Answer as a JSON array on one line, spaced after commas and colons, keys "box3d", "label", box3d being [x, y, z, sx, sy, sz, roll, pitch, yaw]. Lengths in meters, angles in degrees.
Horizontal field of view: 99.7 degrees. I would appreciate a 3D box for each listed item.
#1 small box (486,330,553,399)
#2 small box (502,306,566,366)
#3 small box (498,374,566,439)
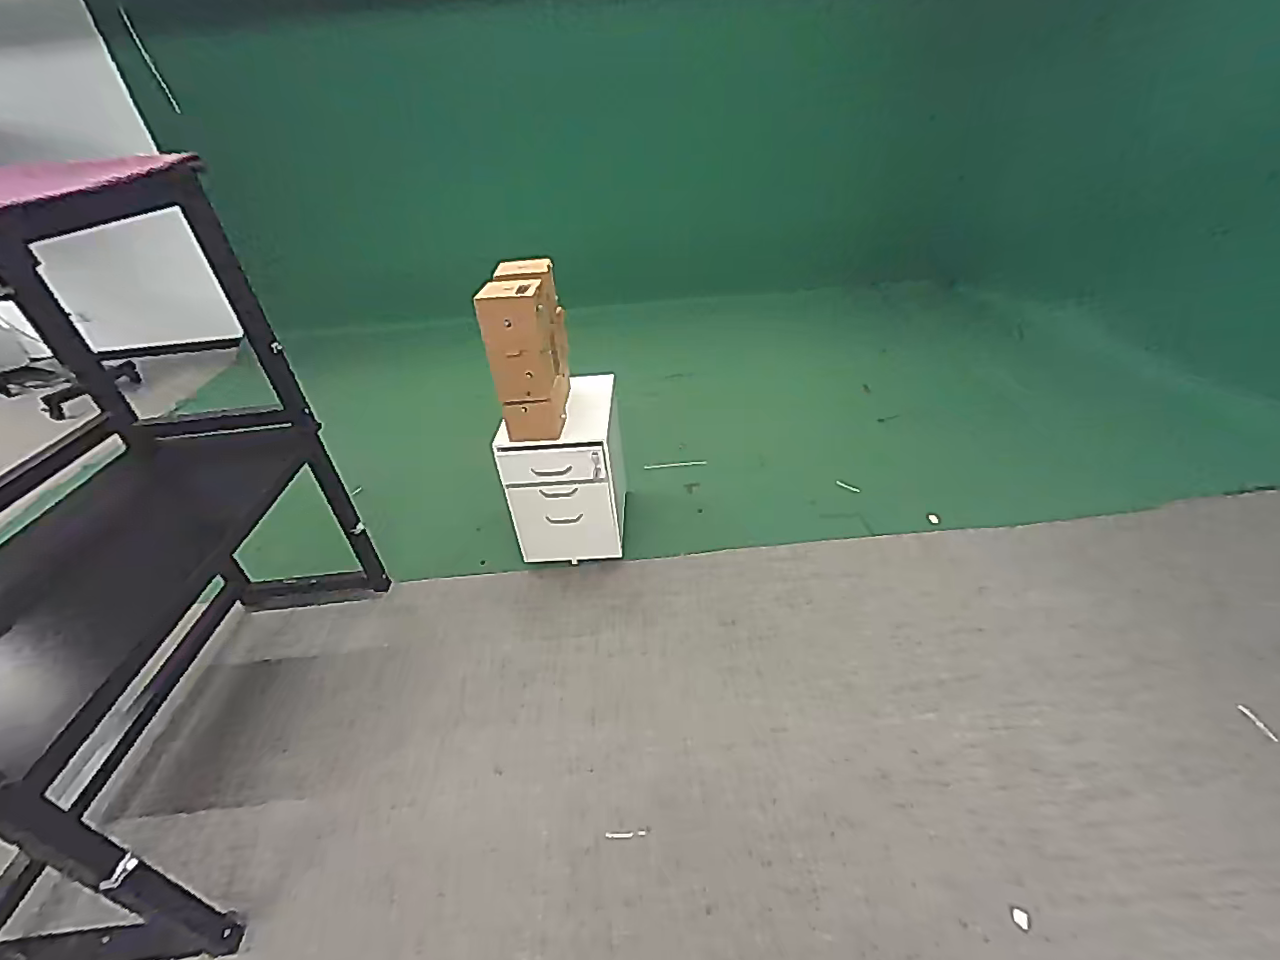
[{"box3d": [-0.380, -0.369, 1.741, 0.168, 0.176, 0.179, -3, 35, 2], "label": "small box"}, {"box3d": [-0.374, -0.515, 1.945, 0.179, 0.176, 0.168, 0, 36, 5], "label": "small box"}, {"box3d": [-0.362, -0.248, 1.848, 0.179, 0.176, 0.168, -1, 35, 5], "label": "small box"}]
